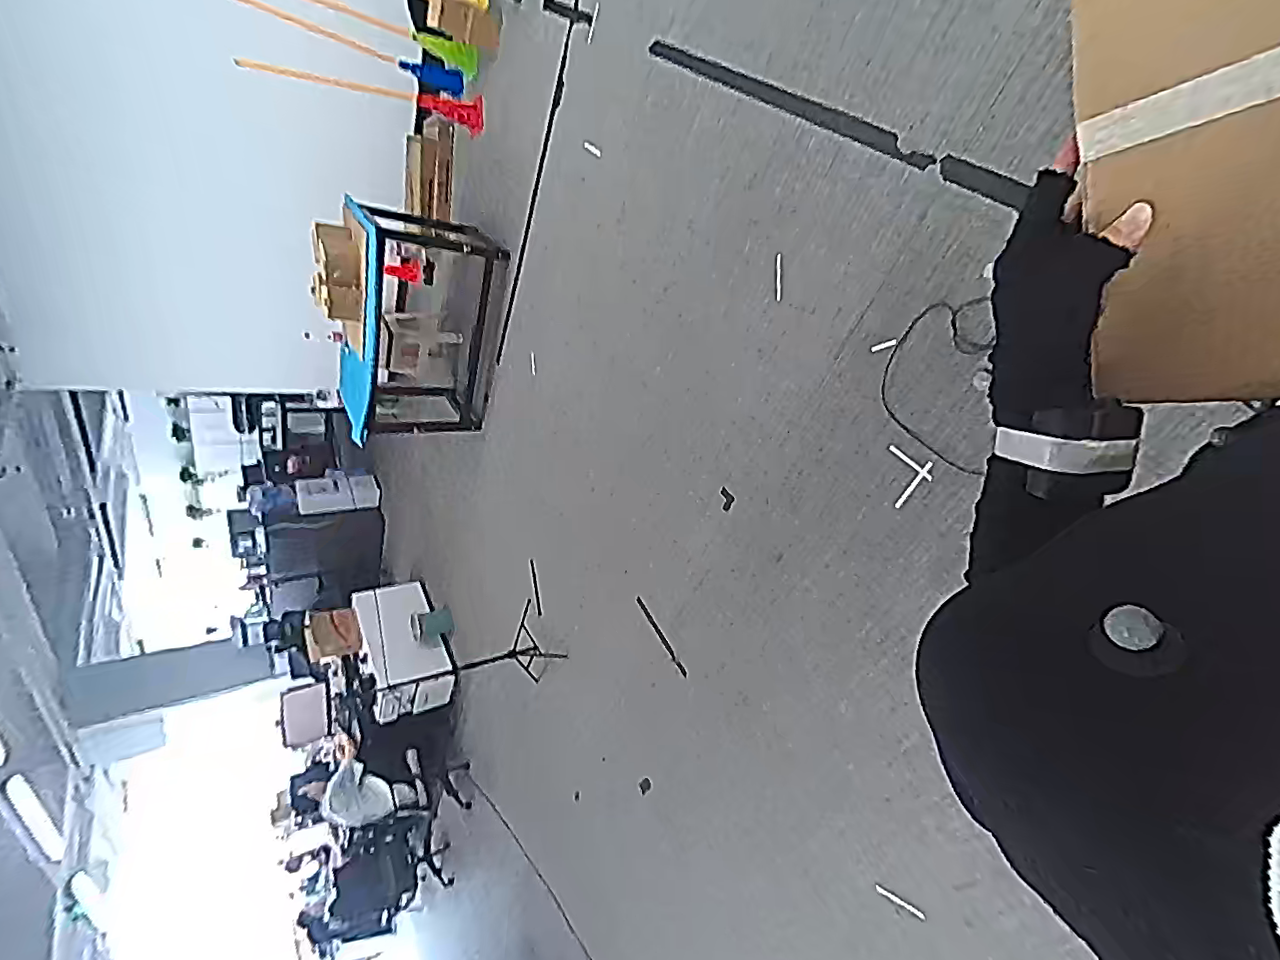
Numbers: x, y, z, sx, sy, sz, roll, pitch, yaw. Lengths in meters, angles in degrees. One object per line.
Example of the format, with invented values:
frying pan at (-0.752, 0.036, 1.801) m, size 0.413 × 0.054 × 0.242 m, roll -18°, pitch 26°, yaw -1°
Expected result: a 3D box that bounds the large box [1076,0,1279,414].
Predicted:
large box at (0.492, -0.227, 0.236) m, size 0.408 × 0.320 × 0.320 m, roll 7°, pitch 118°, yaw 55°
